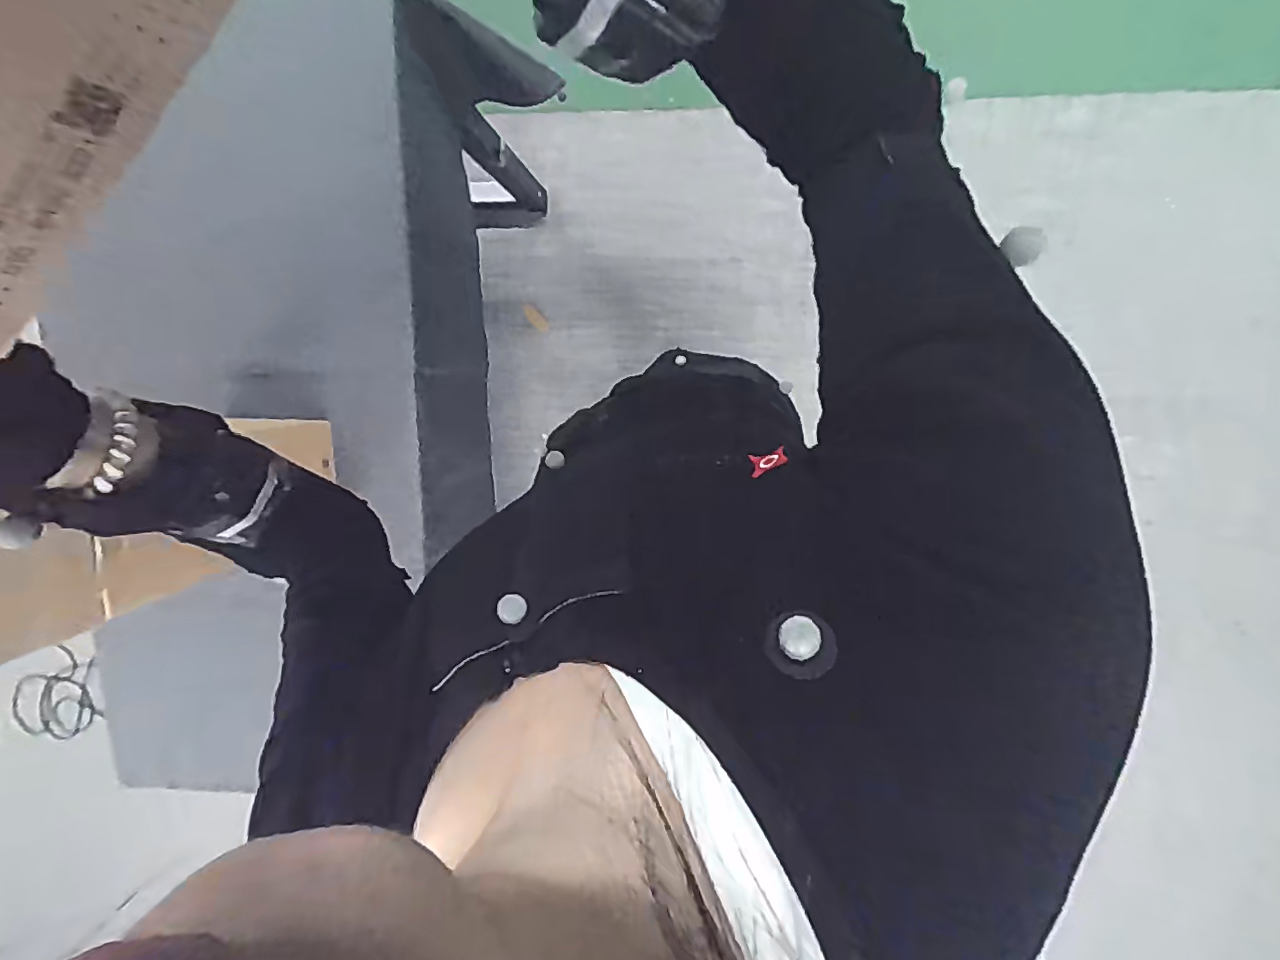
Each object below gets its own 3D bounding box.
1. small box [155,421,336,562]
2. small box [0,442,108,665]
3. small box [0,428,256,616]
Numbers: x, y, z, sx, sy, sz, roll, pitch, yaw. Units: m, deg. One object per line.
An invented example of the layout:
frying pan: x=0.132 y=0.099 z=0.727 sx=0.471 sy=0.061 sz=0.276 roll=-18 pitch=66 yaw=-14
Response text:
small box: x=-0.550 y=0.006 z=0.749 sx=0.179 sy=0.176 sz=0.168 roll=2 pitch=100 yaw=8
small box: x=-0.587 y=0.060 z=0.429 sx=0.168 sy=0.176 sz=0.179 roll=4 pitch=100 yaw=7
small box: x=-0.570 y=0.033 z=0.591 sx=0.179 sy=0.176 sz=0.168 roll=2 pitch=100 yaw=6
